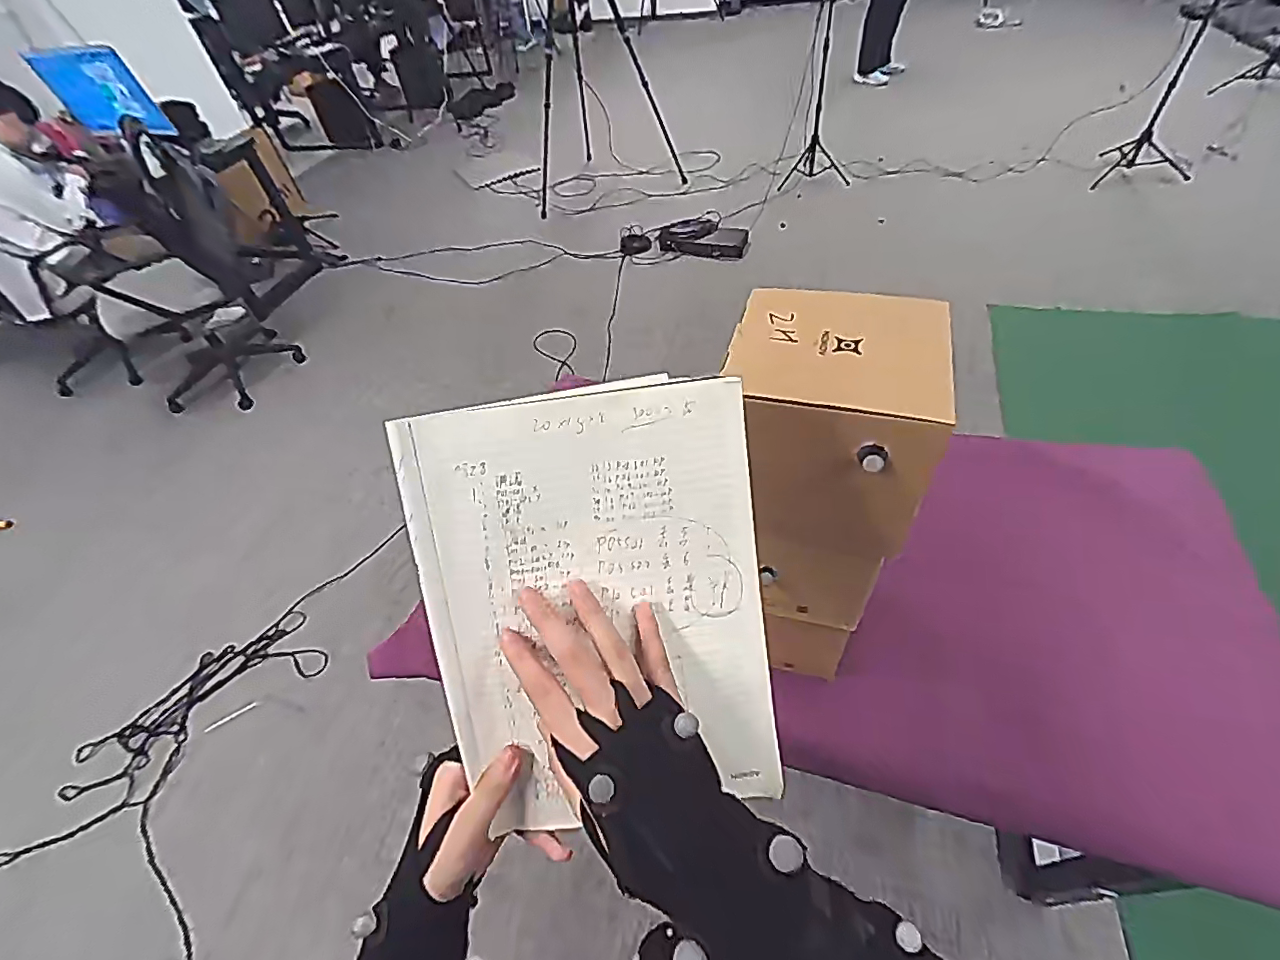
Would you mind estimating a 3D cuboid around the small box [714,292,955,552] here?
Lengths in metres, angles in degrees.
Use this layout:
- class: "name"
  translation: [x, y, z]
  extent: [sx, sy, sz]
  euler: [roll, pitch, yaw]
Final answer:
- class: "small box"
  translation: [0.174, -0.053, 0.511]
  extent: [0.179, 0.176, 0.168]
  euler: [11, 49, 17]

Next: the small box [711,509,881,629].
- class: "small box"
  translation: [0.184, 0.051, 0.639]
  extent: [0.168, 0.176, 0.179]
  euler: [9, 49, 16]
